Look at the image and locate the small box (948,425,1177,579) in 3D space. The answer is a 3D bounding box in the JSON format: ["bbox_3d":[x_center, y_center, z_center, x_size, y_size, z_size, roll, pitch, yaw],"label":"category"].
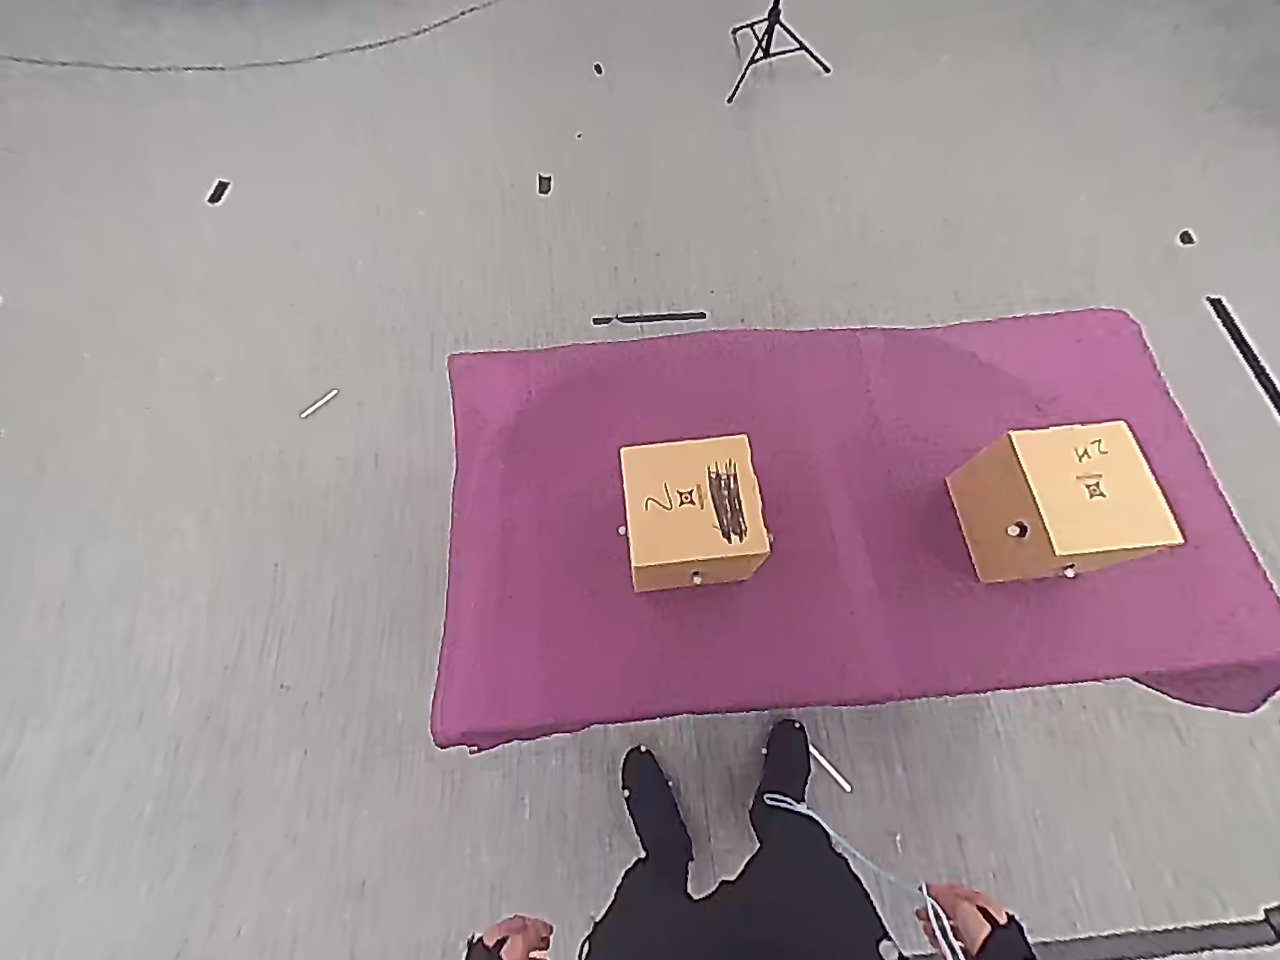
[{"bbox_3d":[0.583,0.041,0.777,0.168,0.176,0.179,-5,68,-2],"label":"small box"}]
